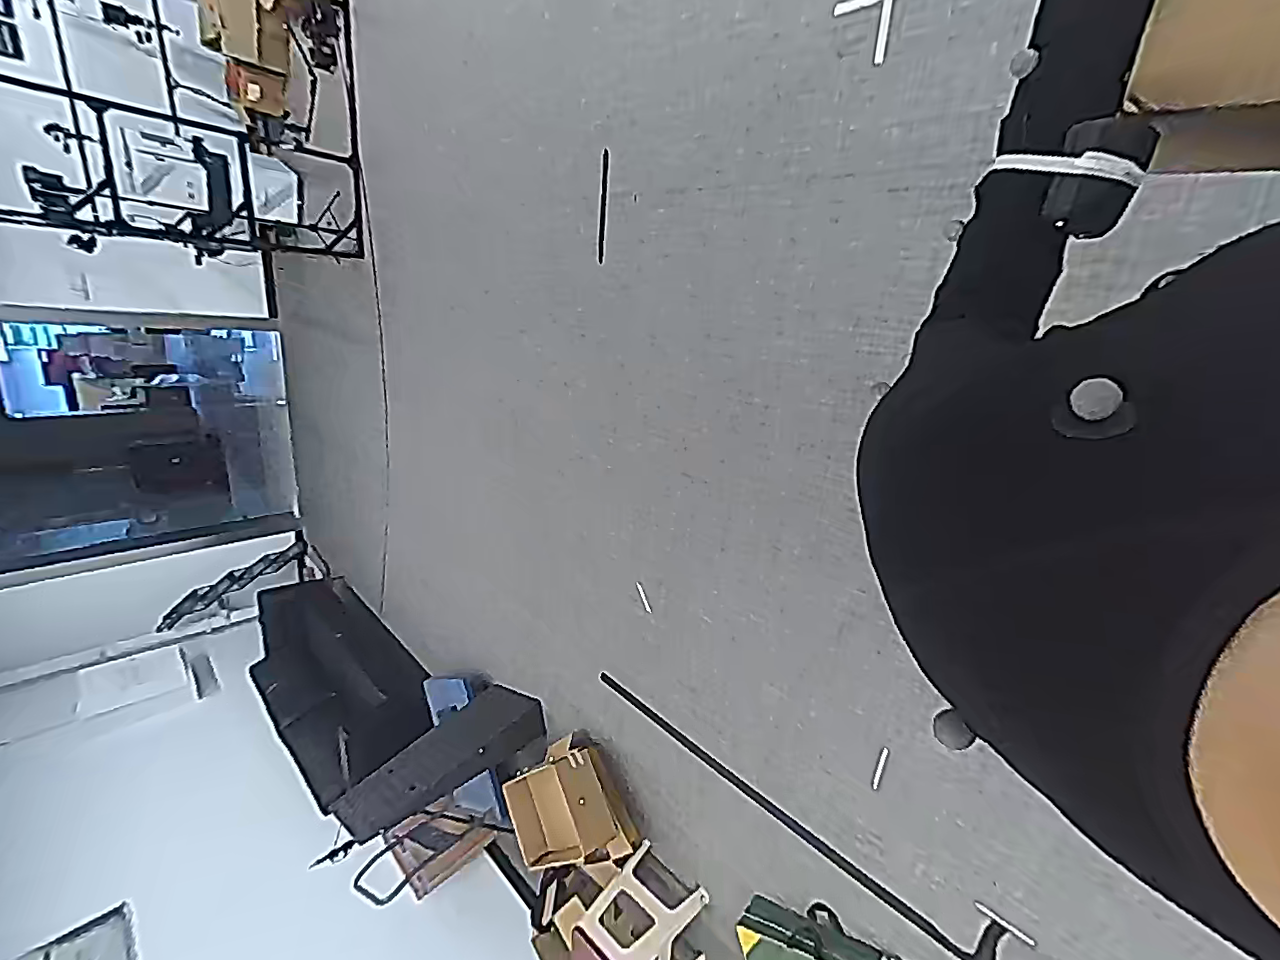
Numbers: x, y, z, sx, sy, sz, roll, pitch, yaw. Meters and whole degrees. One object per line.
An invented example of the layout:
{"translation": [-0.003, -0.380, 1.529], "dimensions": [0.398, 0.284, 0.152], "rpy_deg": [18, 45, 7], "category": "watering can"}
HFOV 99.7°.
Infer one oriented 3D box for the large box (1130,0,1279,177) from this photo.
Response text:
{"translation": [0.573, -0.372, 0.294], "dimensions": [0.408, 0.320, 0.320], "rpy_deg": [19, 119, 37], "category": "large box"}
